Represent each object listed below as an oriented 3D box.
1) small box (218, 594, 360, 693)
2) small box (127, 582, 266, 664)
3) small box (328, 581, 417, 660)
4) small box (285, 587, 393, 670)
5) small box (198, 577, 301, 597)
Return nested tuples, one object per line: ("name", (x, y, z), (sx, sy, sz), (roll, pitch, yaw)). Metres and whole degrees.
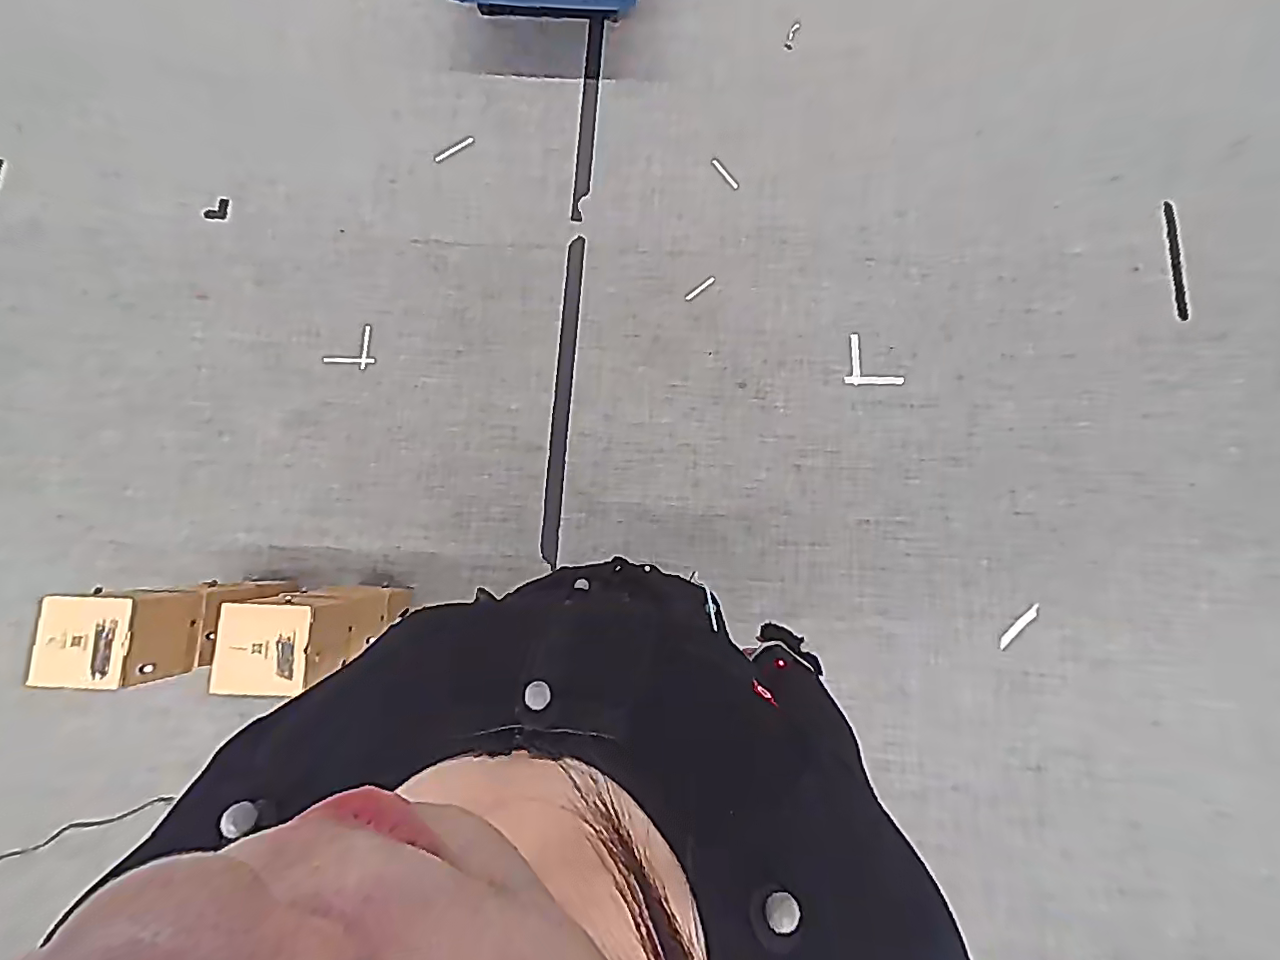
("small box", (-0.697, 0.323, 1.095), (0.179, 0.176, 0.168), (2, 82, 1))
("small box", (-1.022, 0.327, 1.258), (0.179, 0.176, 0.168), (1, 82, 1))
("small box", (-0.706, 0.363, 1.419), (0.168, 0.176, 0.179), (5, 81, 0))
("small box", (-0.699, 0.339, 1.259), (0.179, 0.176, 0.168), (1, 82, 0))
("small box", (-1.027, 0.348, 1.421), (0.168, 0.176, 0.179), (1, 81, 0))
